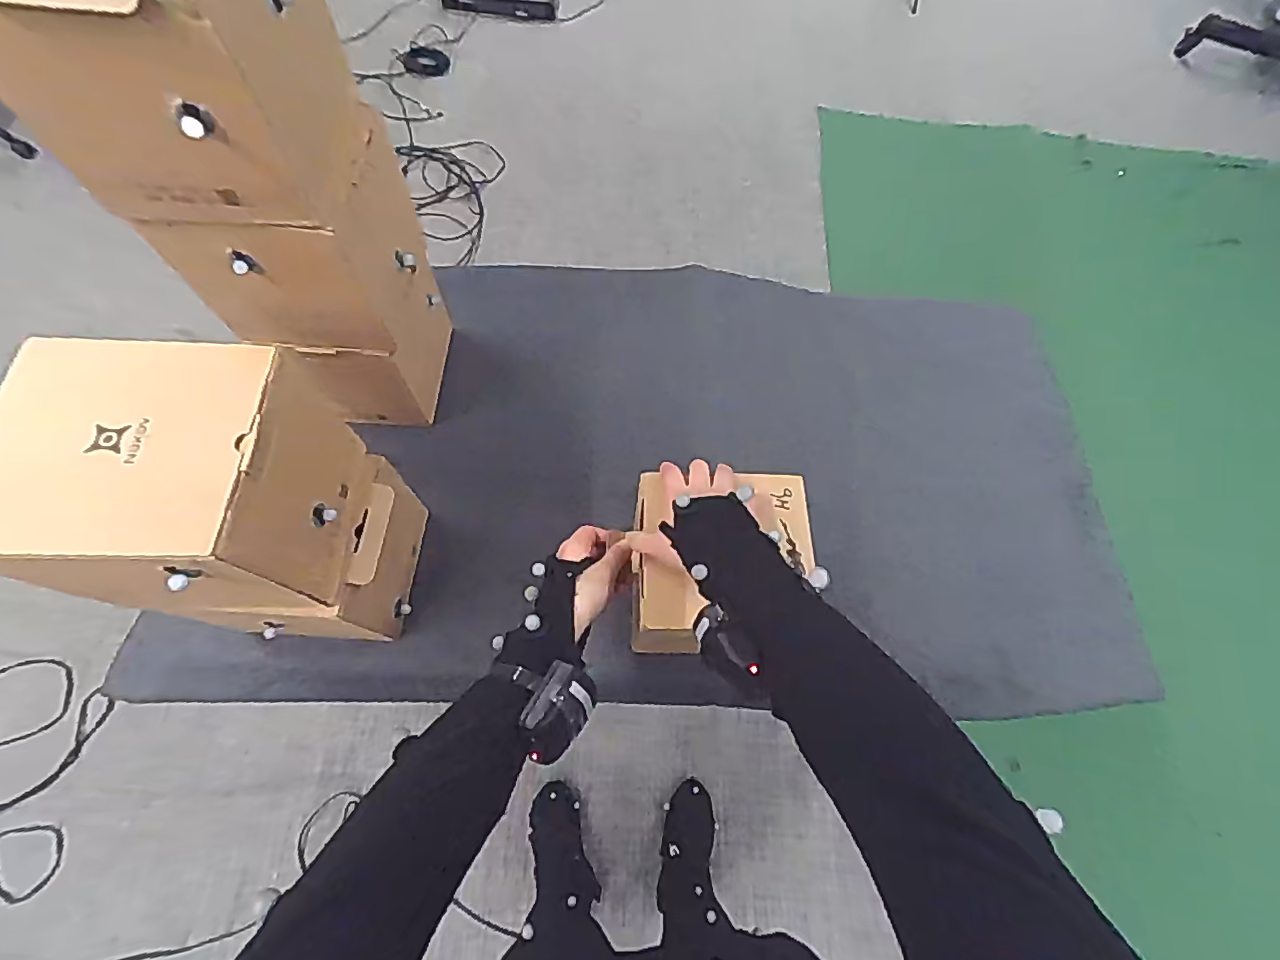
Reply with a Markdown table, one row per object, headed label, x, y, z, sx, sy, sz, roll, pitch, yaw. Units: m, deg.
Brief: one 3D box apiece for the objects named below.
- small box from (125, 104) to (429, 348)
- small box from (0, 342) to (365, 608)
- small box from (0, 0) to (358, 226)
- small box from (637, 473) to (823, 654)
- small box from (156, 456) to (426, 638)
| label | x | y | z | sx | sy | sz | roll | pitch | yaw |
| --- | --- | --- | --- | --- | --- | --- | --- | --- | --- |
| small box | -0.340 | -0.253 | 0.552 | 0.179 | 0.176 | 0.168 | 4 | 67 | -3 |
| small box | -0.357 | 0.008 | 0.441 | 0.179 | 0.176 | 0.168 | 1 | 67 | -5 |
| small box | -0.335 | -0.317 | 0.403 | 0.168 | 0.176 | 0.179 | 0 | 66 | -6 |
| small box | 0.086 | 0.102 | 0.611 | 0.179 | 0.176 | 0.168 | 1 | 65 | -2 |
| small box | -0.354 | 0.076 | 0.589 | 0.179 | 0.176 | 0.168 | 4 | 67 | -2 |
